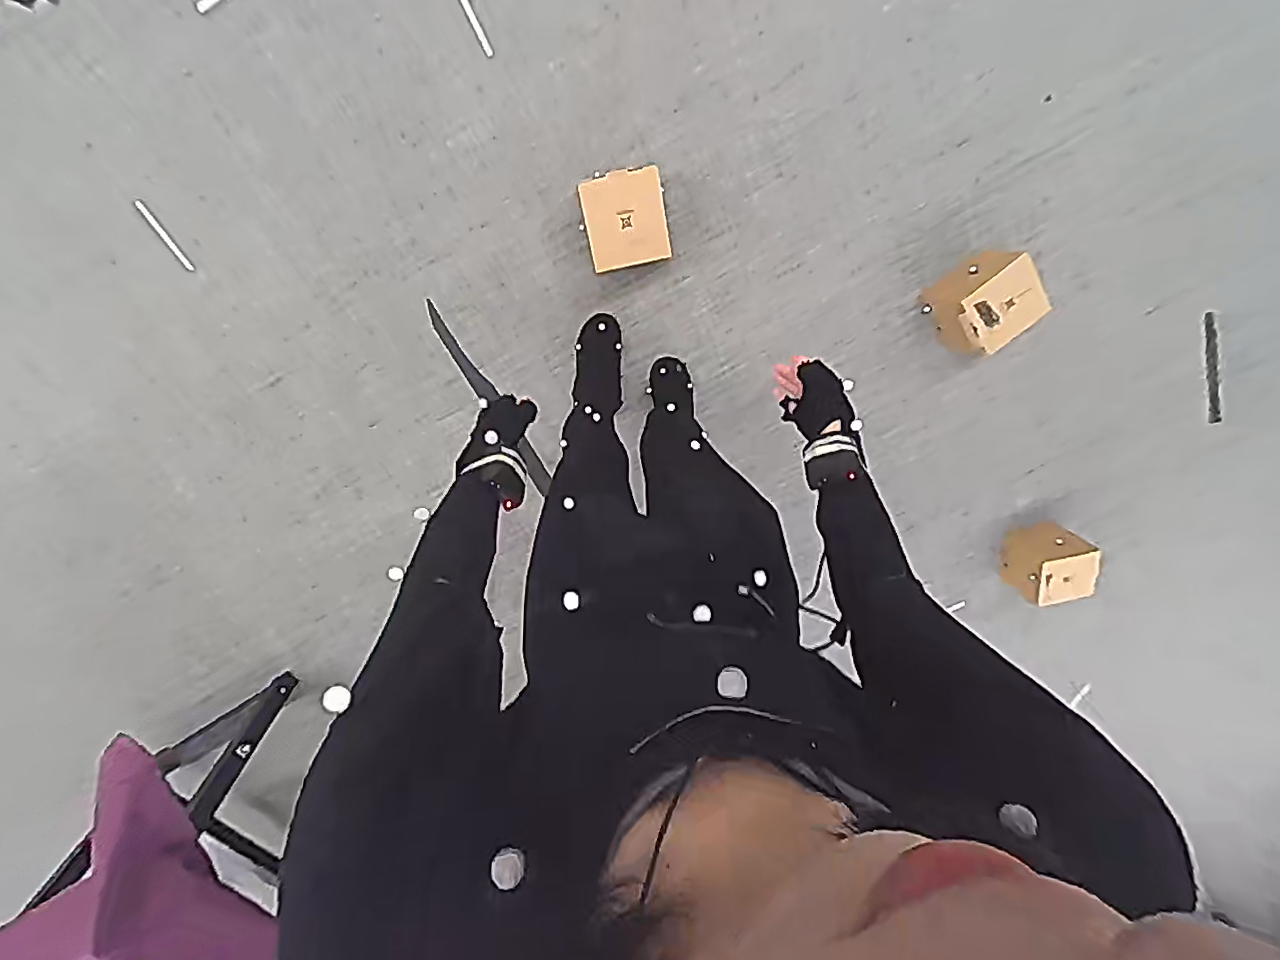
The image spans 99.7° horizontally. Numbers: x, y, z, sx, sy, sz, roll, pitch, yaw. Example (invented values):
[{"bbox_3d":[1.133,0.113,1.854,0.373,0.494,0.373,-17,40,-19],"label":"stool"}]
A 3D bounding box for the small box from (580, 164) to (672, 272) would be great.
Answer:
[{"bbox_3d":[-0.034,-0.562,1.173,0.168,0.176,0.179,-12,115,0],"label":"small box"}]

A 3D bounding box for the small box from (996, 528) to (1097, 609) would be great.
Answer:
[{"bbox_3d":[1.252,0.267,1.676,0.179,0.176,0.168,-13,114,-1],"label":"small box"}]

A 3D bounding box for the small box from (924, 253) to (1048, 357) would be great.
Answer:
[{"bbox_3d":[0.834,-0.431,1.327,0.179,0.176,0.168,-38,112,10],"label":"small box"}]
